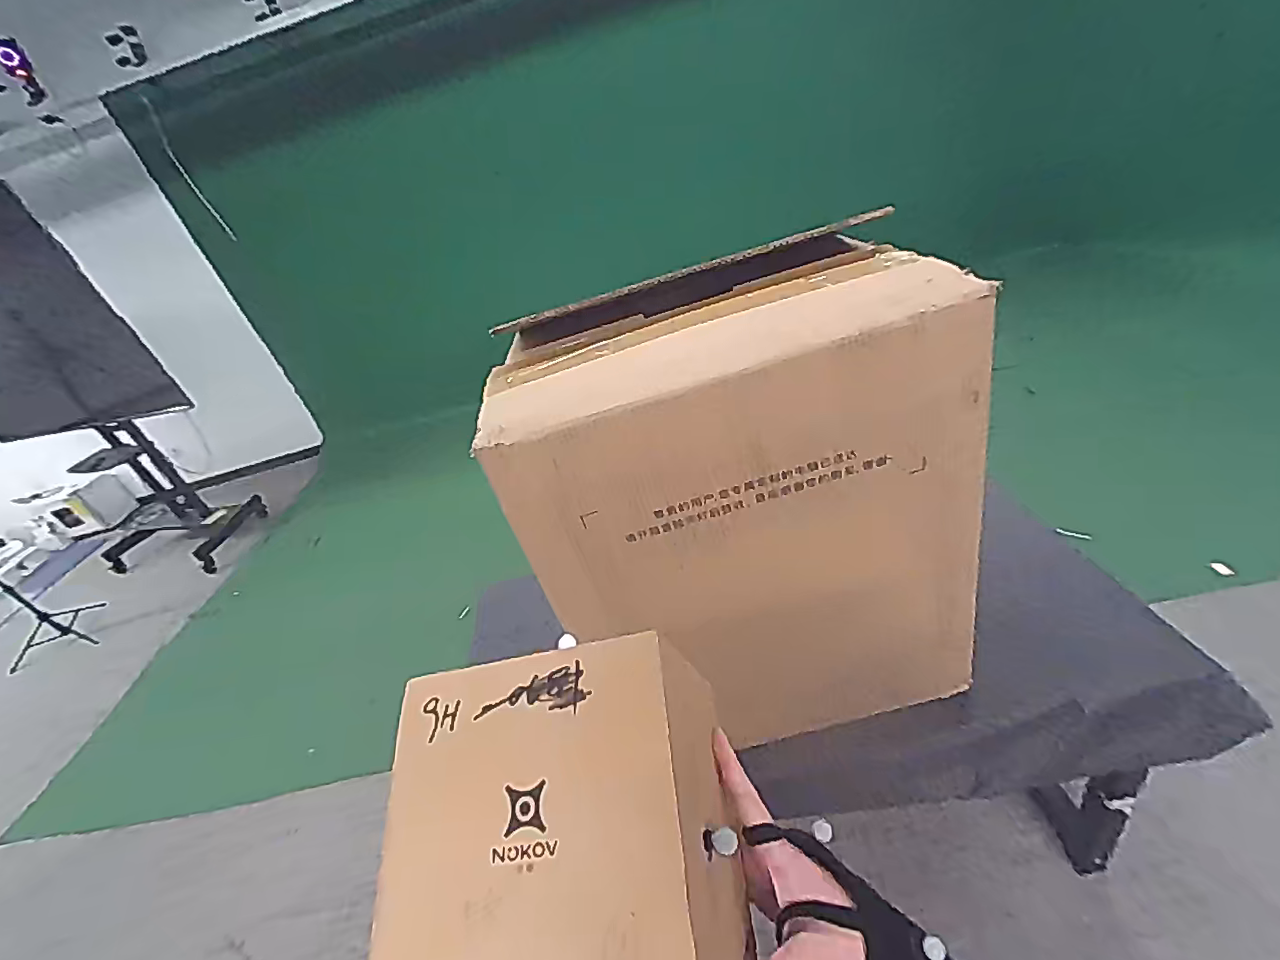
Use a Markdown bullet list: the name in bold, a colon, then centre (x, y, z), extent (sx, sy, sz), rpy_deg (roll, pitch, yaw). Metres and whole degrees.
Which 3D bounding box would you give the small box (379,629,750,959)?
- **small box**: centre (-0.033, 0.214, 0.345), extent (0.168, 0.176, 0.179), rpy_deg (-14, 57, 10)
